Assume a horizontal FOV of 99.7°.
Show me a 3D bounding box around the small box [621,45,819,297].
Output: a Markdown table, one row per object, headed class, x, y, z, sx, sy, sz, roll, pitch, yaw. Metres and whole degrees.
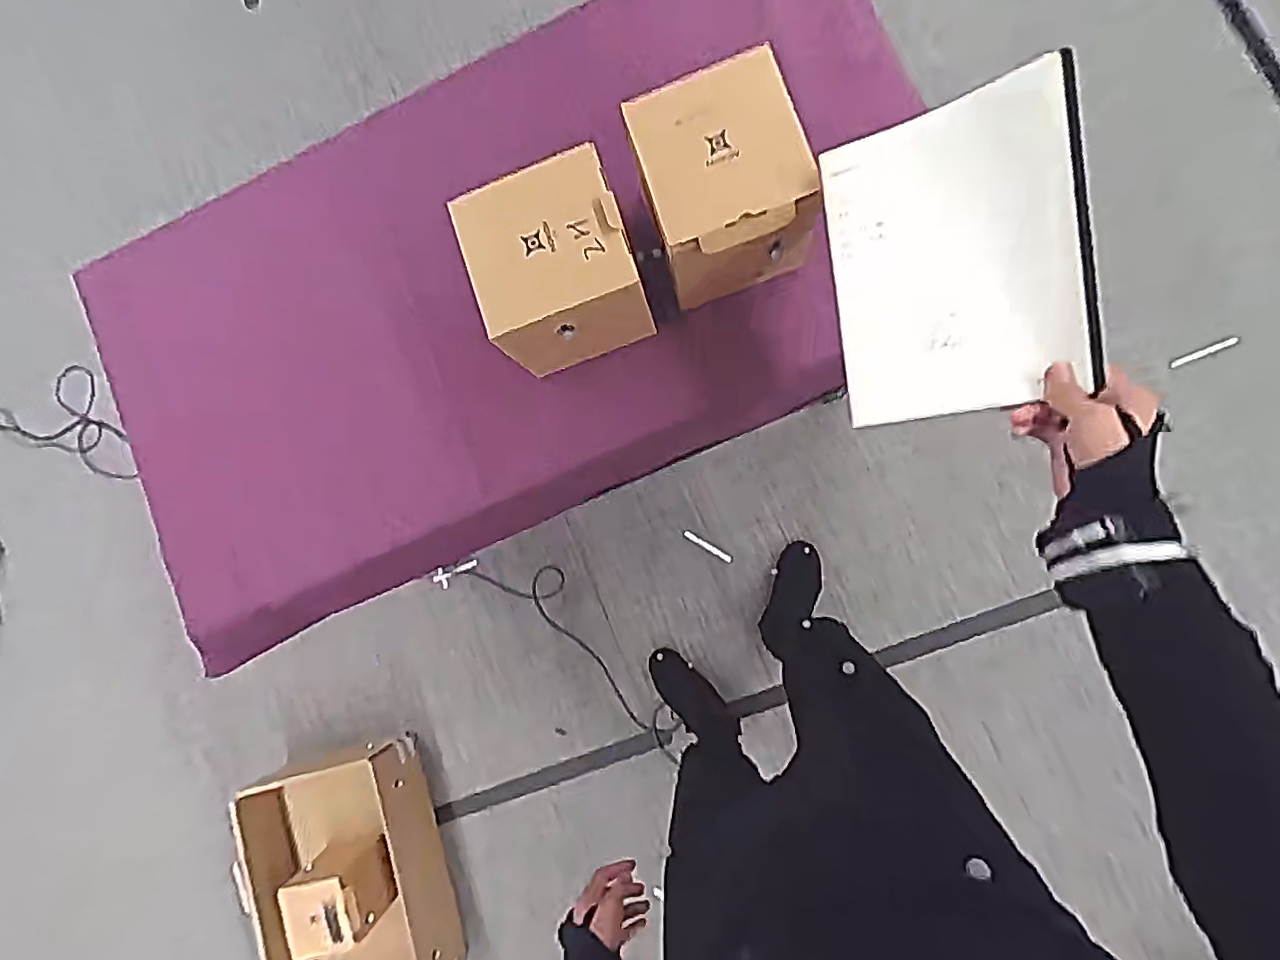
| class | x | y | z | sx | sy | sz | roll | pitch | yaw |
| --- | --- | --- | --- | --- | --- | --- | --- | --- | --- |
| small box | 0.091 | -0.338 | 0.636 | 0.168 | 0.176 | 0.179 | -18 | 83 | 6 |
